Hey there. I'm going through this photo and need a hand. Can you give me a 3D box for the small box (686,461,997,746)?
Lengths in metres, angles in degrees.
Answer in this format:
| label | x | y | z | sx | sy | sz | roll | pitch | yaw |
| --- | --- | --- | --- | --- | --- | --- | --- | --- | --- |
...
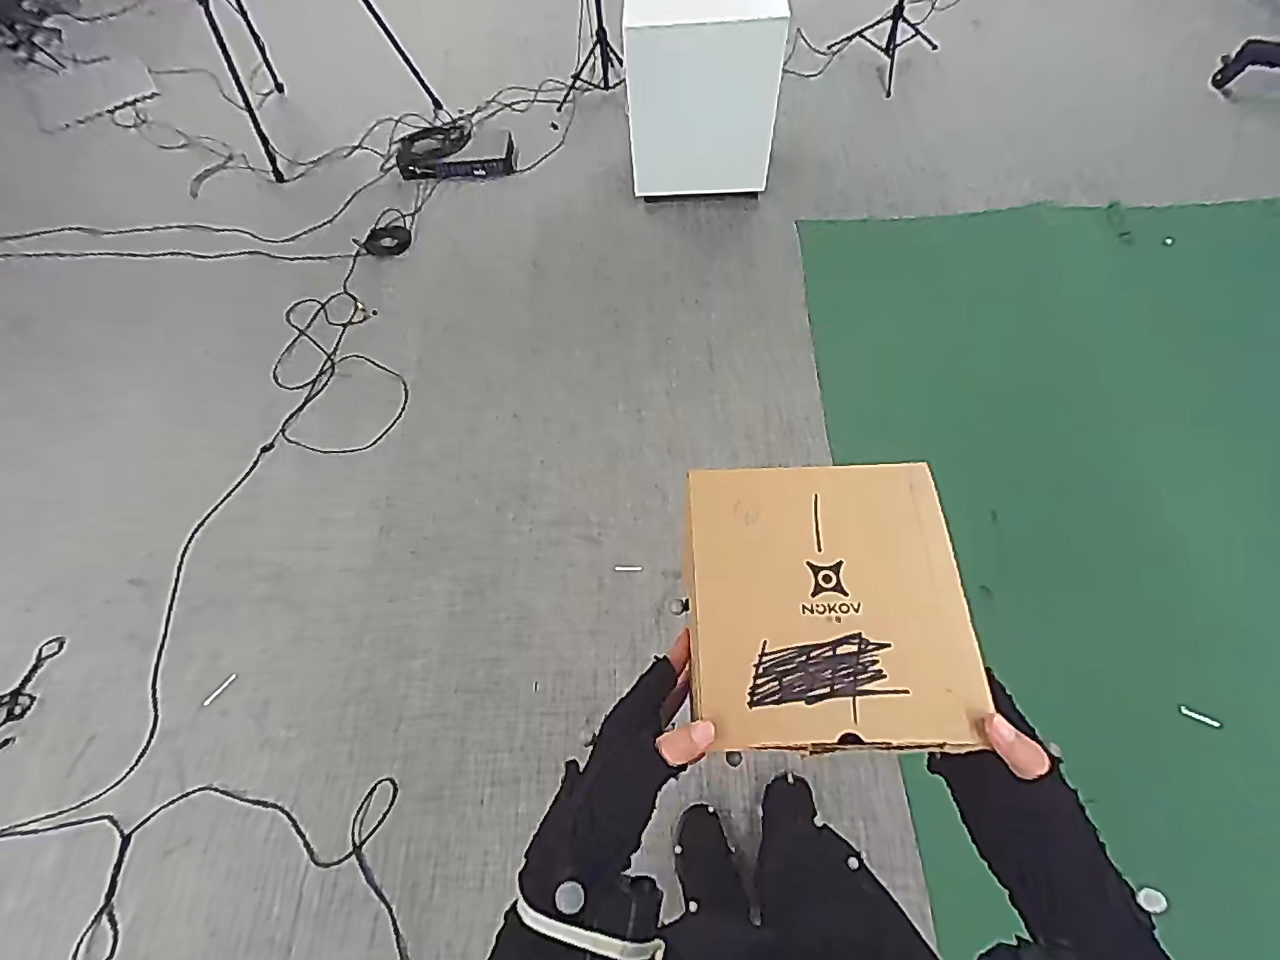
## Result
| label | x | y | z | sx | sy | sz | roll | pitch | yaw |
| --- | --- | --- | --- | --- | --- | --- | --- | --- | --- |
| small box | 0.120 | 0.101 | 0.407 | 0.168 | 0.176 | 0.179 | -1 | 64 | 2 |
